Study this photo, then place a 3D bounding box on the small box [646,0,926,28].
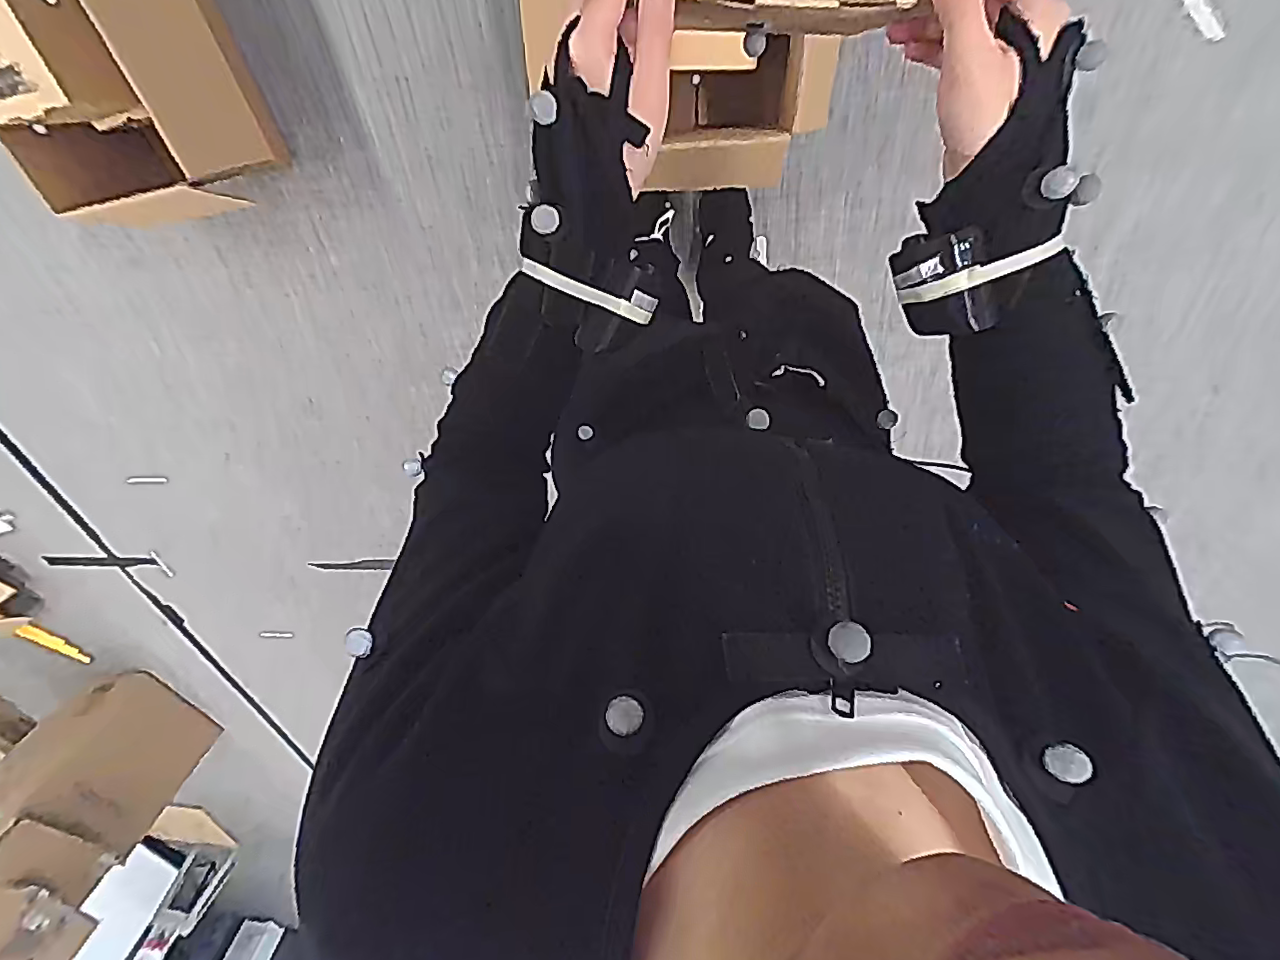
[{"bbox_3d":[0.083,-0.371,0.294,0.168,0.176,0.179,1,126,-1],"label":"small box"}]
